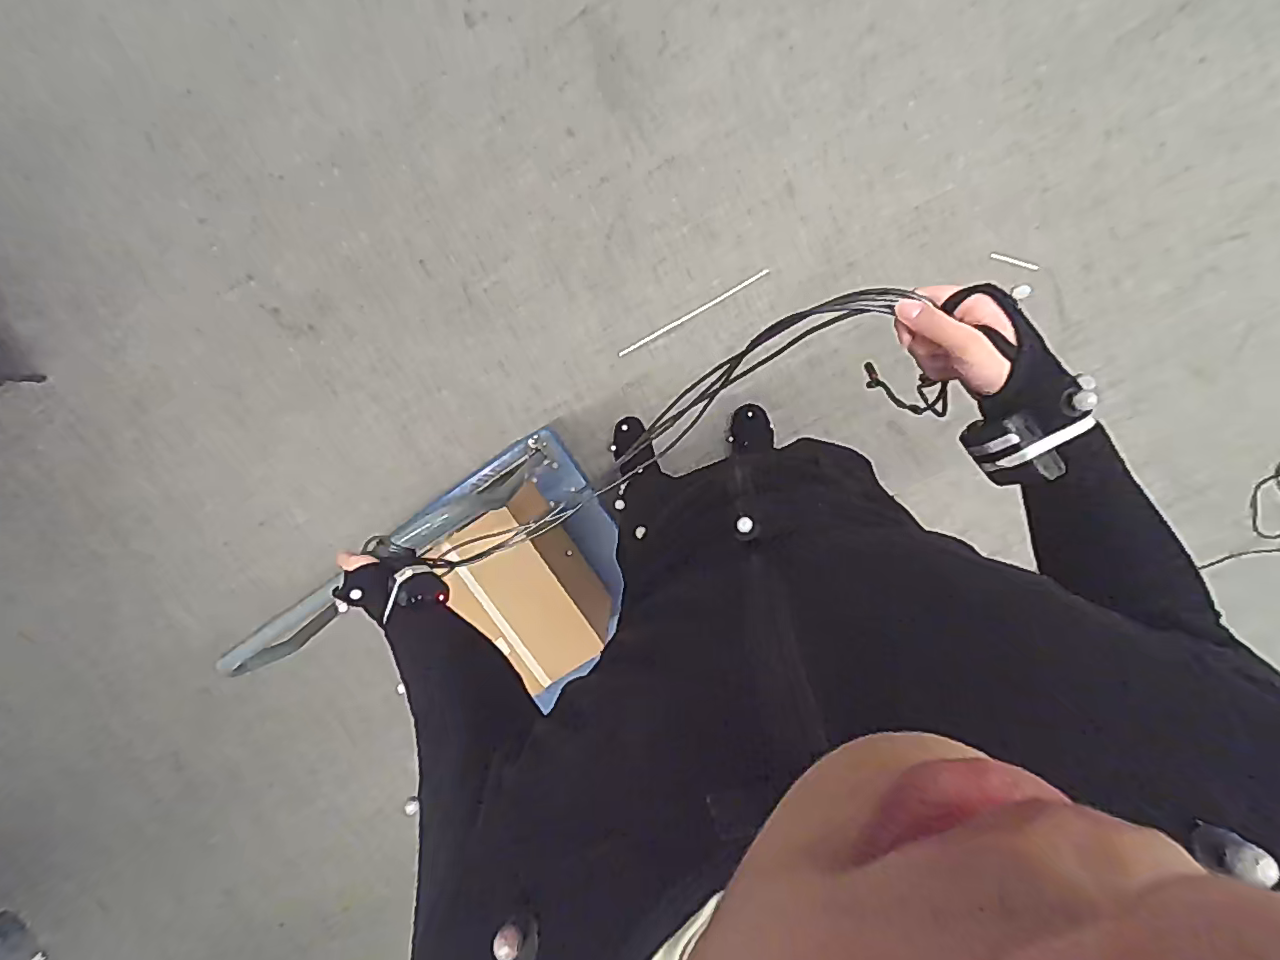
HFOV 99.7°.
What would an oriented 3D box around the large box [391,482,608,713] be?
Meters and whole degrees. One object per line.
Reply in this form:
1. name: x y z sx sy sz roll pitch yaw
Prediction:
1. large box: -0.315 0.266 1.339 0.320 0.320 0.408 -33 98 4
